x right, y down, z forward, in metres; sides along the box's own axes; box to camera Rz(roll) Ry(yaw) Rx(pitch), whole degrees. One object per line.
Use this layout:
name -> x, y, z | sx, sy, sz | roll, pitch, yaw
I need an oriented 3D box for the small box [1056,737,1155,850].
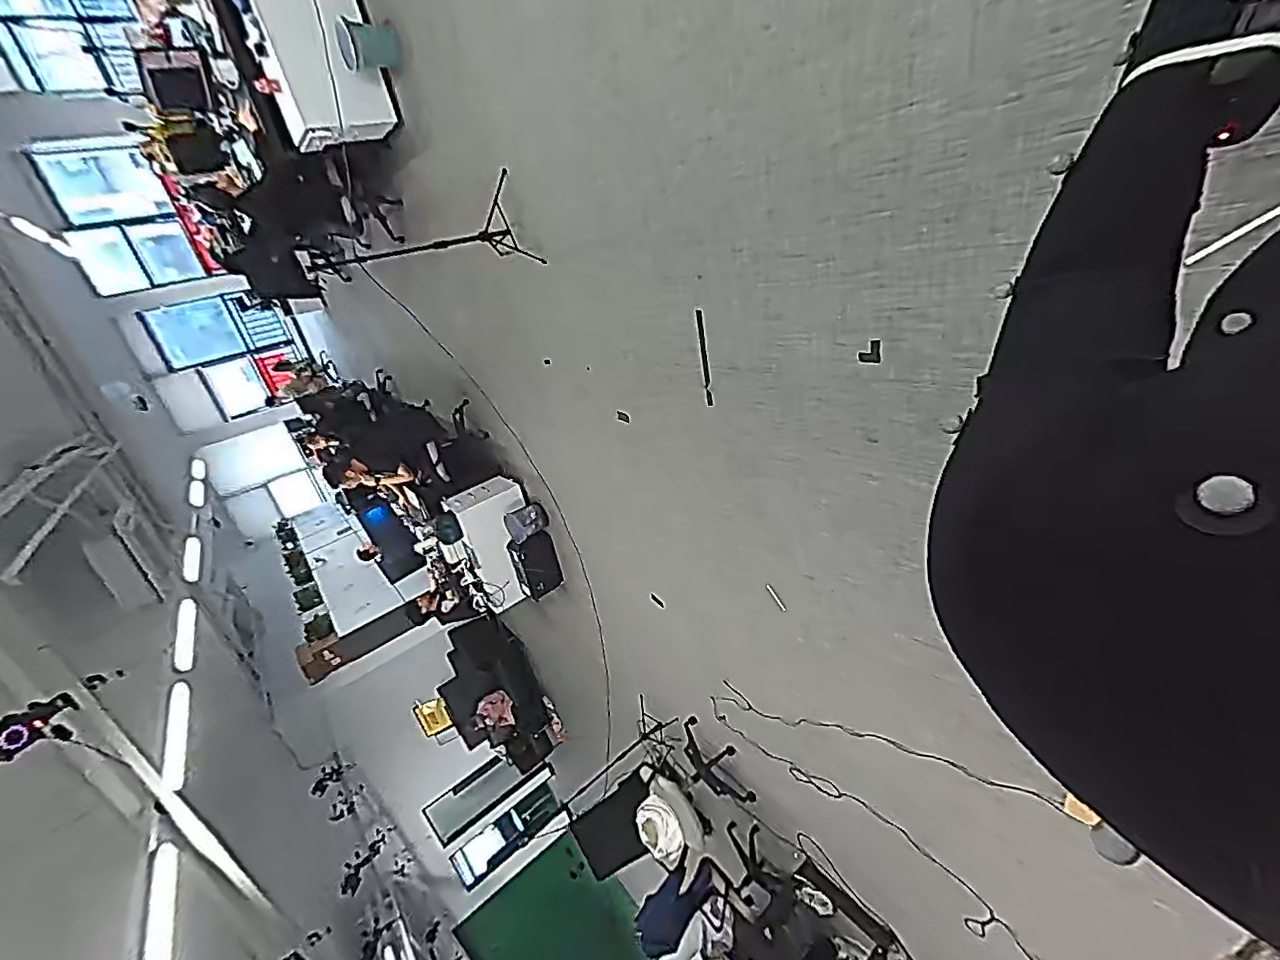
small box -> 1.317, 0.878, 1.528 | 0.168, 0.176, 0.179 | 20, 129, 48
